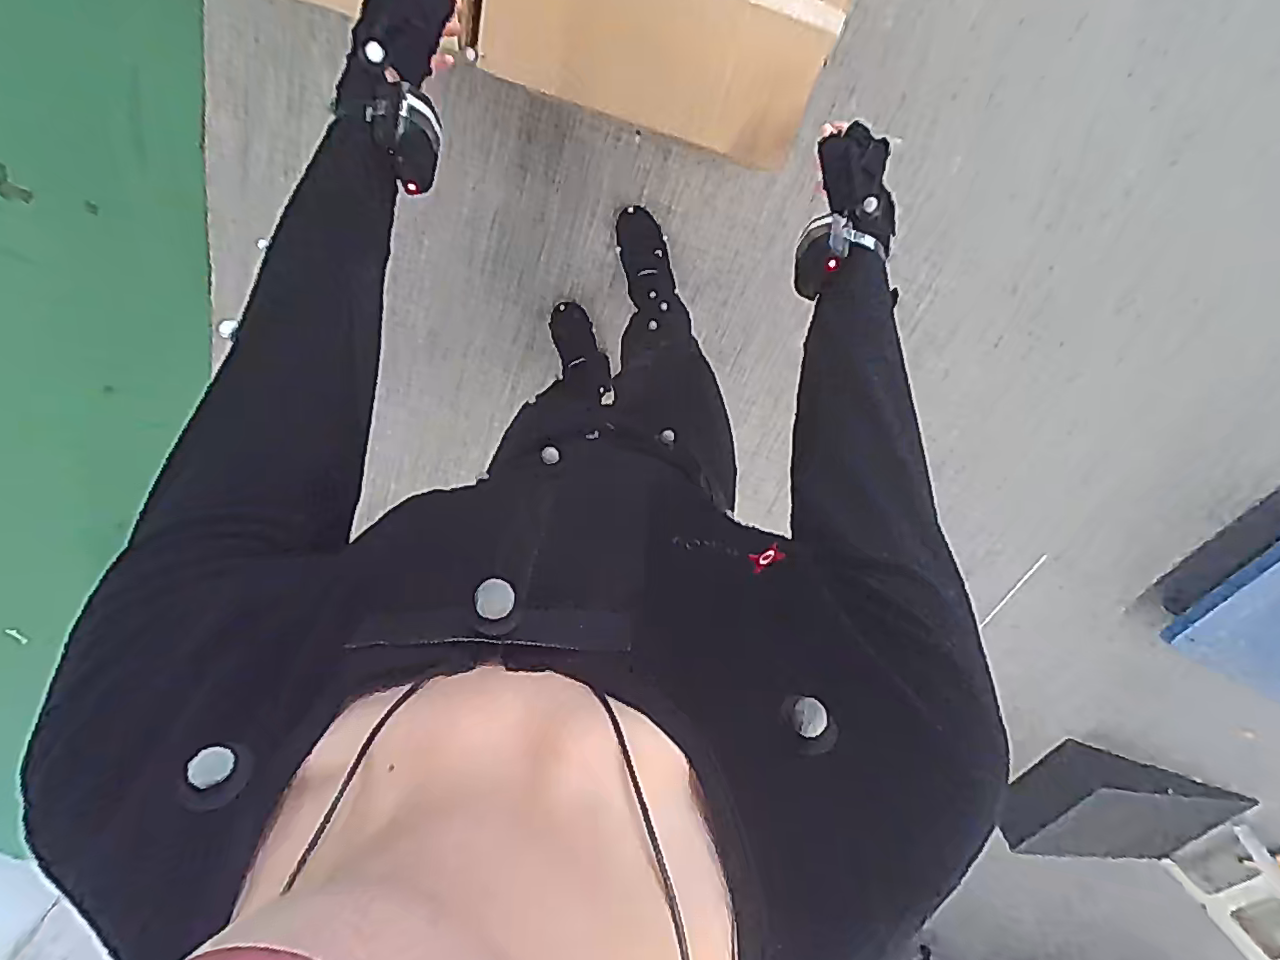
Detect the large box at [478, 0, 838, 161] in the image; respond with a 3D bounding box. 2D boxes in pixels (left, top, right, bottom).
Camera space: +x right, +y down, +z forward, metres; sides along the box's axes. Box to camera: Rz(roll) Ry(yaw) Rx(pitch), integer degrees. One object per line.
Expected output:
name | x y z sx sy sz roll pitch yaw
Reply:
large box | 0.041 -0.657 0.727 0.408 0.320 0.320 15 120 -5
